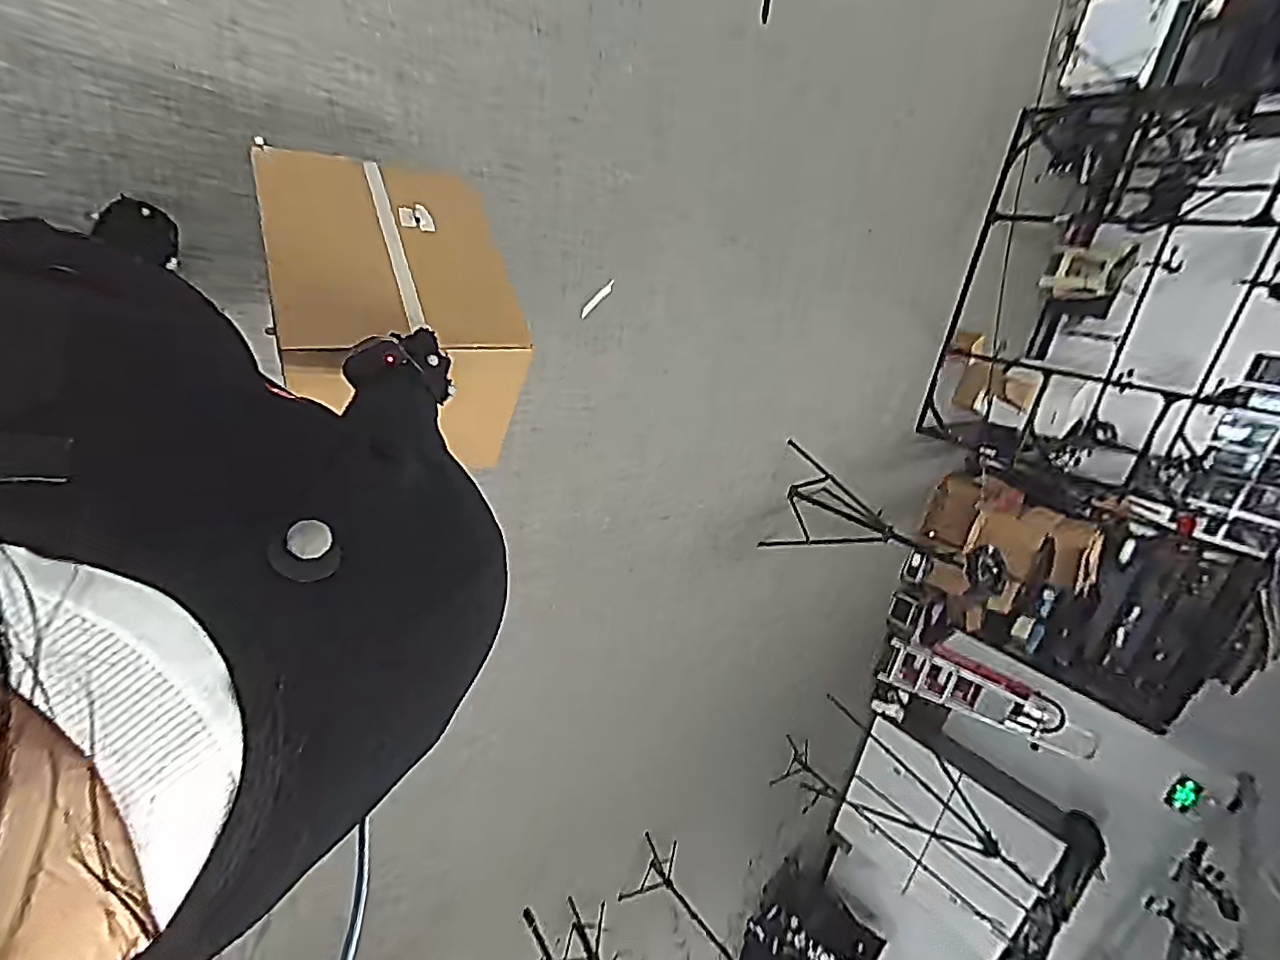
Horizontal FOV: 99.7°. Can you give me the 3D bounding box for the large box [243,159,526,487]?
[{"bbox_3d":[-0.428,-0.252,0.906,0.320,0.408,0.320,-10,152,-33],"label":"large box"}]
